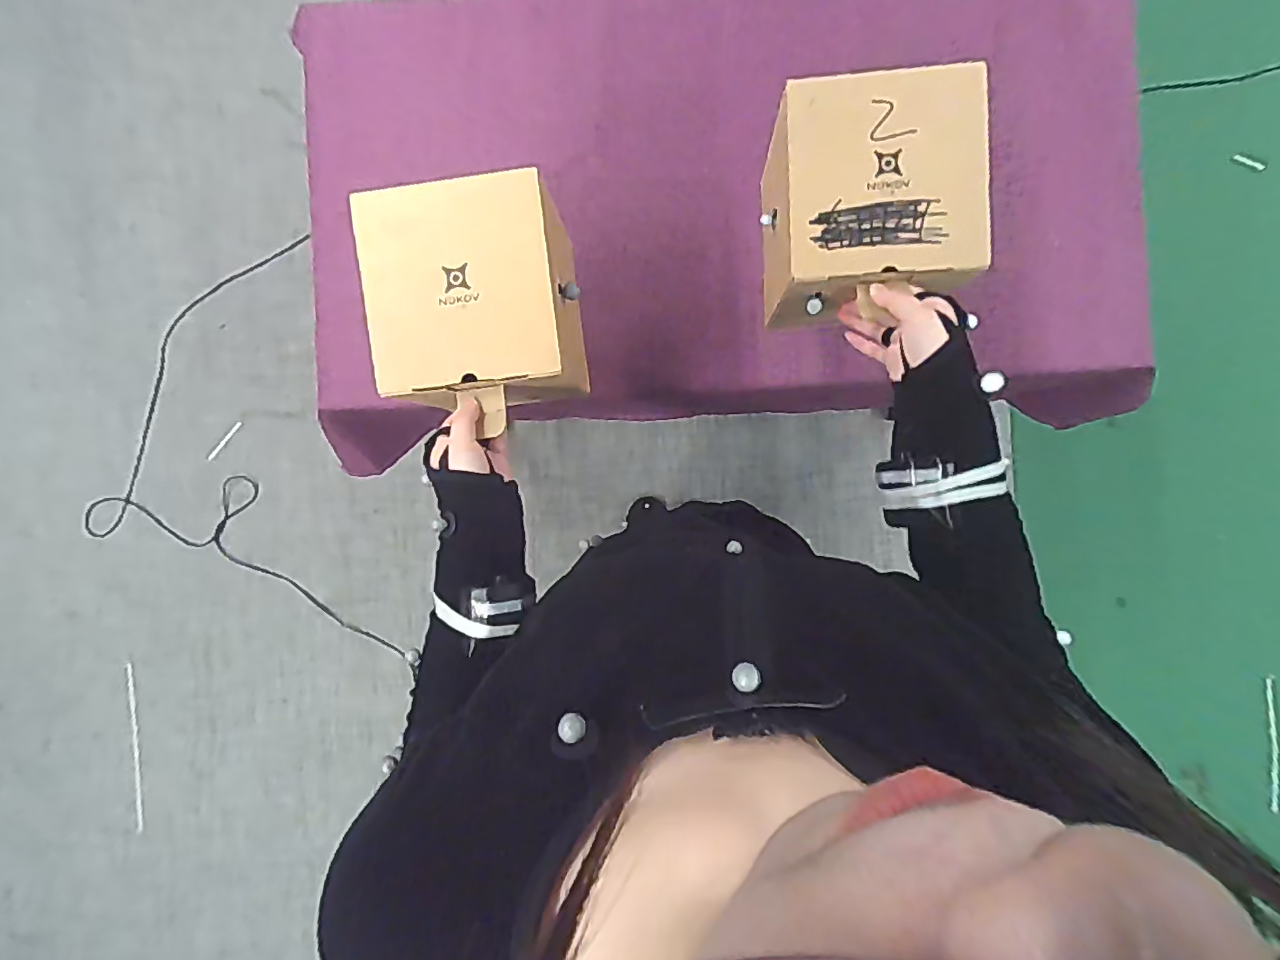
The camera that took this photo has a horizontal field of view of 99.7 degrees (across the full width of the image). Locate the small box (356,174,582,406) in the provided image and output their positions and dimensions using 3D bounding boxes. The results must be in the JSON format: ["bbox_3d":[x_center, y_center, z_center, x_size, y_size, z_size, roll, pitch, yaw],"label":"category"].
[{"bbox_3d":[-0.159,-0.177,0.557,0.168,0.176,0.179,-7,94,3],"label":"small box"}]
